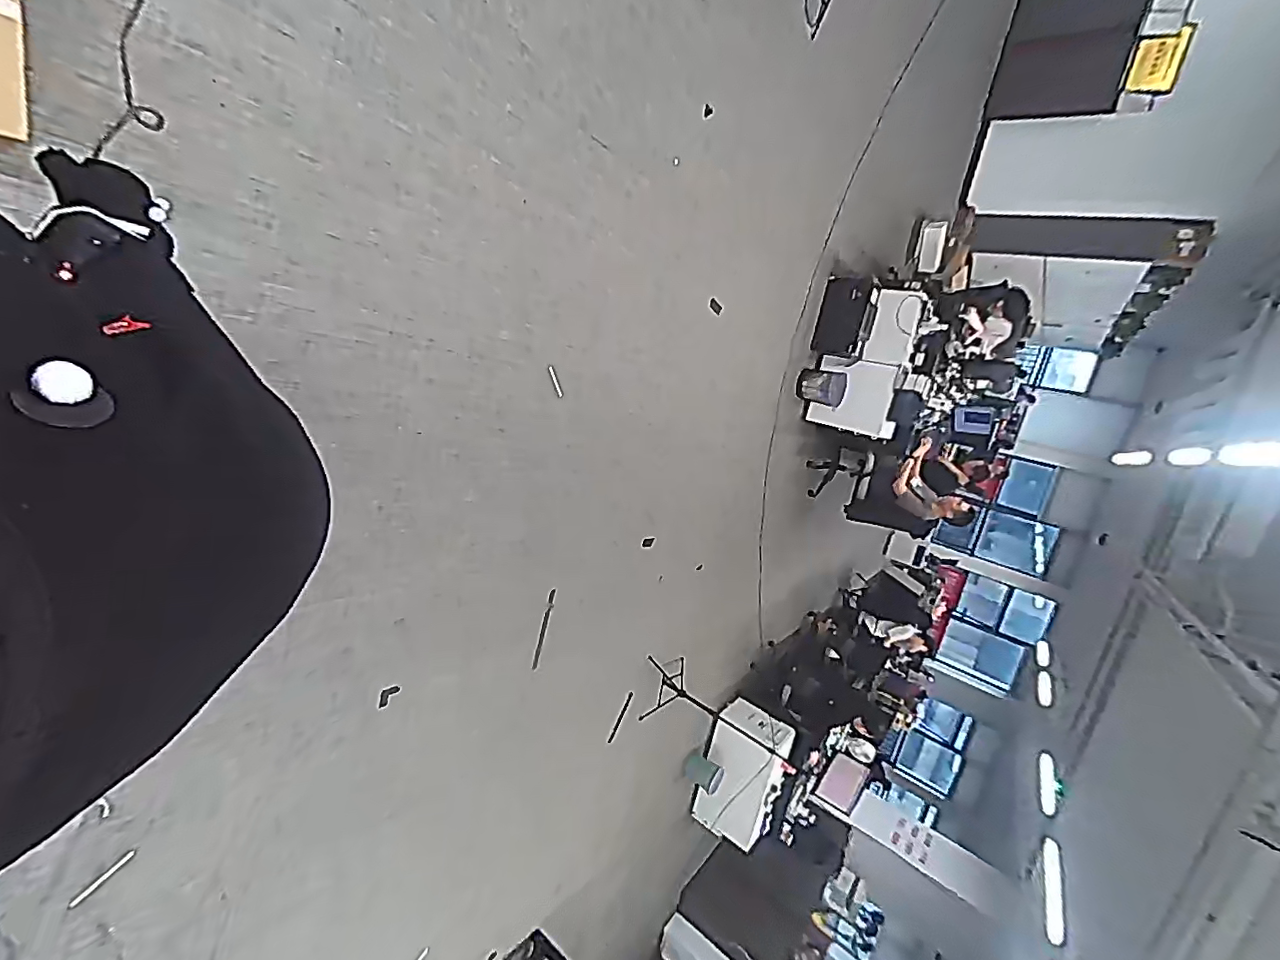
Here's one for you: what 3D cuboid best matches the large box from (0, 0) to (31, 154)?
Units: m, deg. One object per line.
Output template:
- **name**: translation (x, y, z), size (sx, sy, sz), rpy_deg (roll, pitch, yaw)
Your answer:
- **large box**: translation (-1.065, -0.636, 0.646), size (0.408, 0.320, 0.320), rpy_deg (-8, 113, -54)
